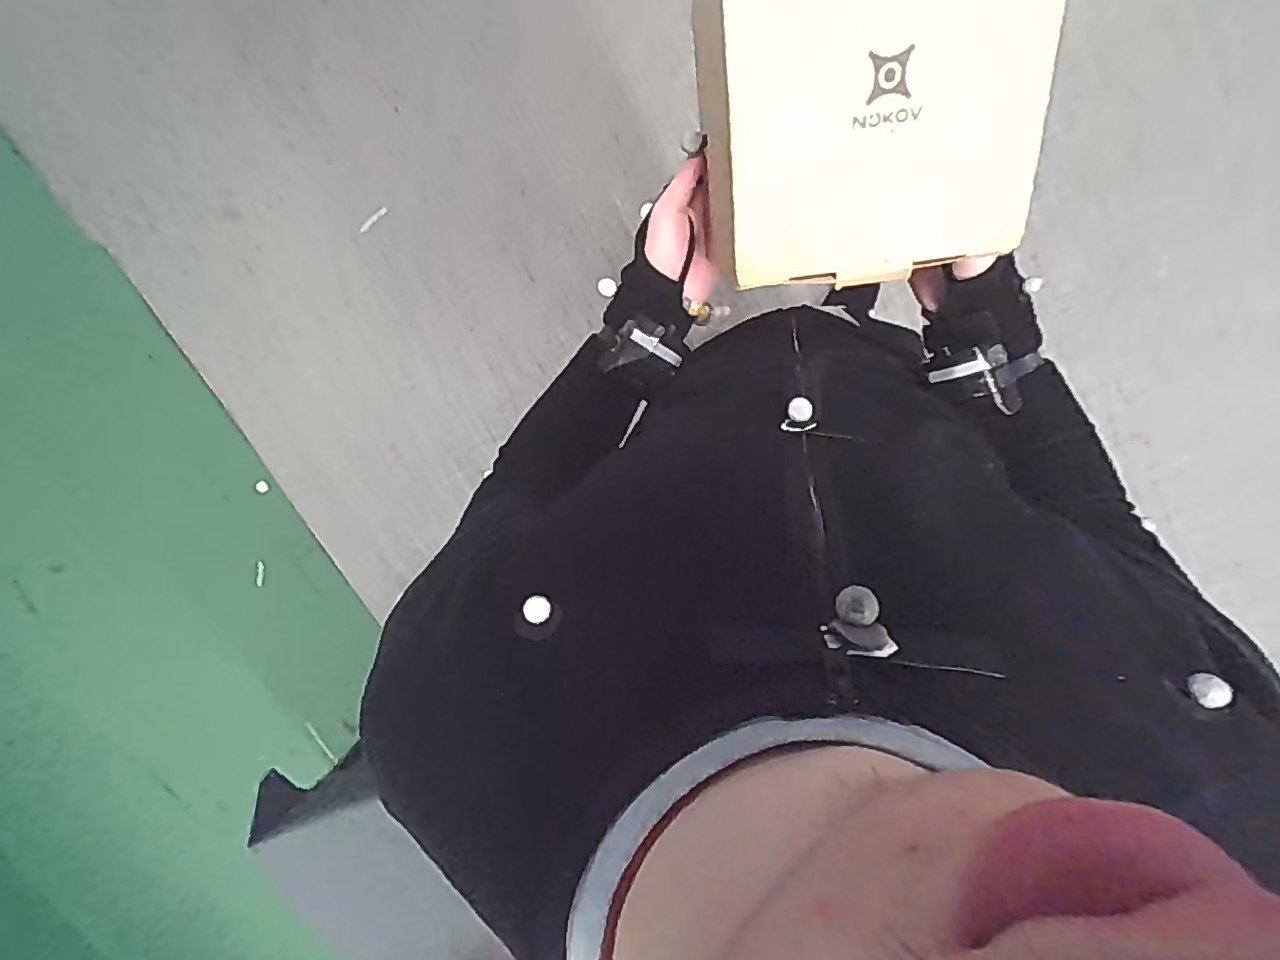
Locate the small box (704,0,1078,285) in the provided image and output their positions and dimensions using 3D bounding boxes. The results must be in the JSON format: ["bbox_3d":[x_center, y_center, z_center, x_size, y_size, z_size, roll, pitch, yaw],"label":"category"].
[{"bbox_3d":[0.135,-0.240,0.352,0.168,0.176,0.179,-6,119,3],"label":"small box"}]

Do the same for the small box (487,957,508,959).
[{"bbox_3d":[-0.377,1.294,1.294,0.179,0.176,0.168,-29,98,21],"label":"small box"}]
